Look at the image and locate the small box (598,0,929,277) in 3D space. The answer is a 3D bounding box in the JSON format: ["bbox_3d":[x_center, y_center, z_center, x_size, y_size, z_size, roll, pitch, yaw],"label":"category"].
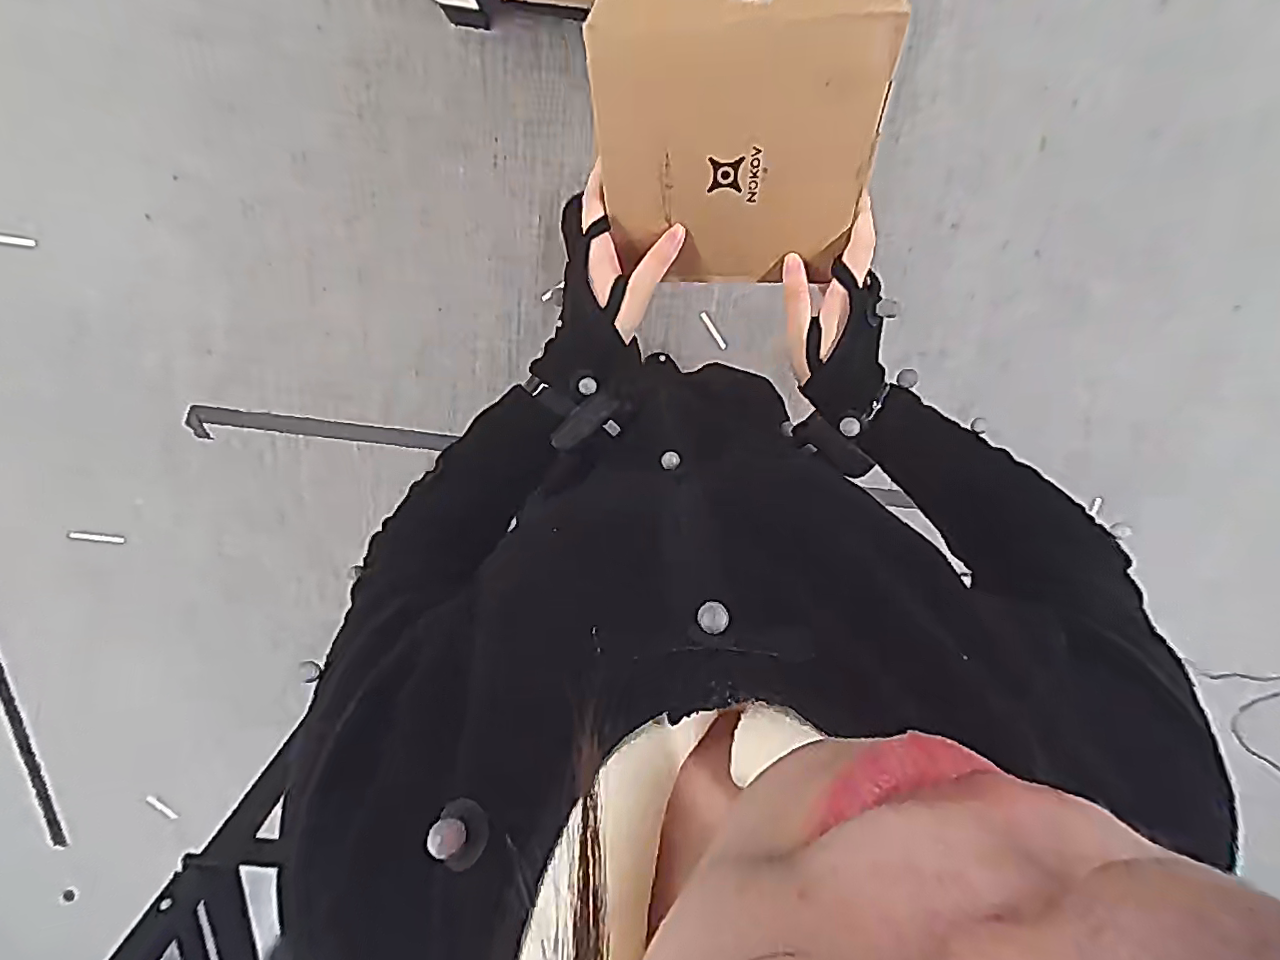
[{"bbox_3d":[0.074,-0.271,0.392,0.179,0.176,0.168,4,146,6],"label":"small box"}]
